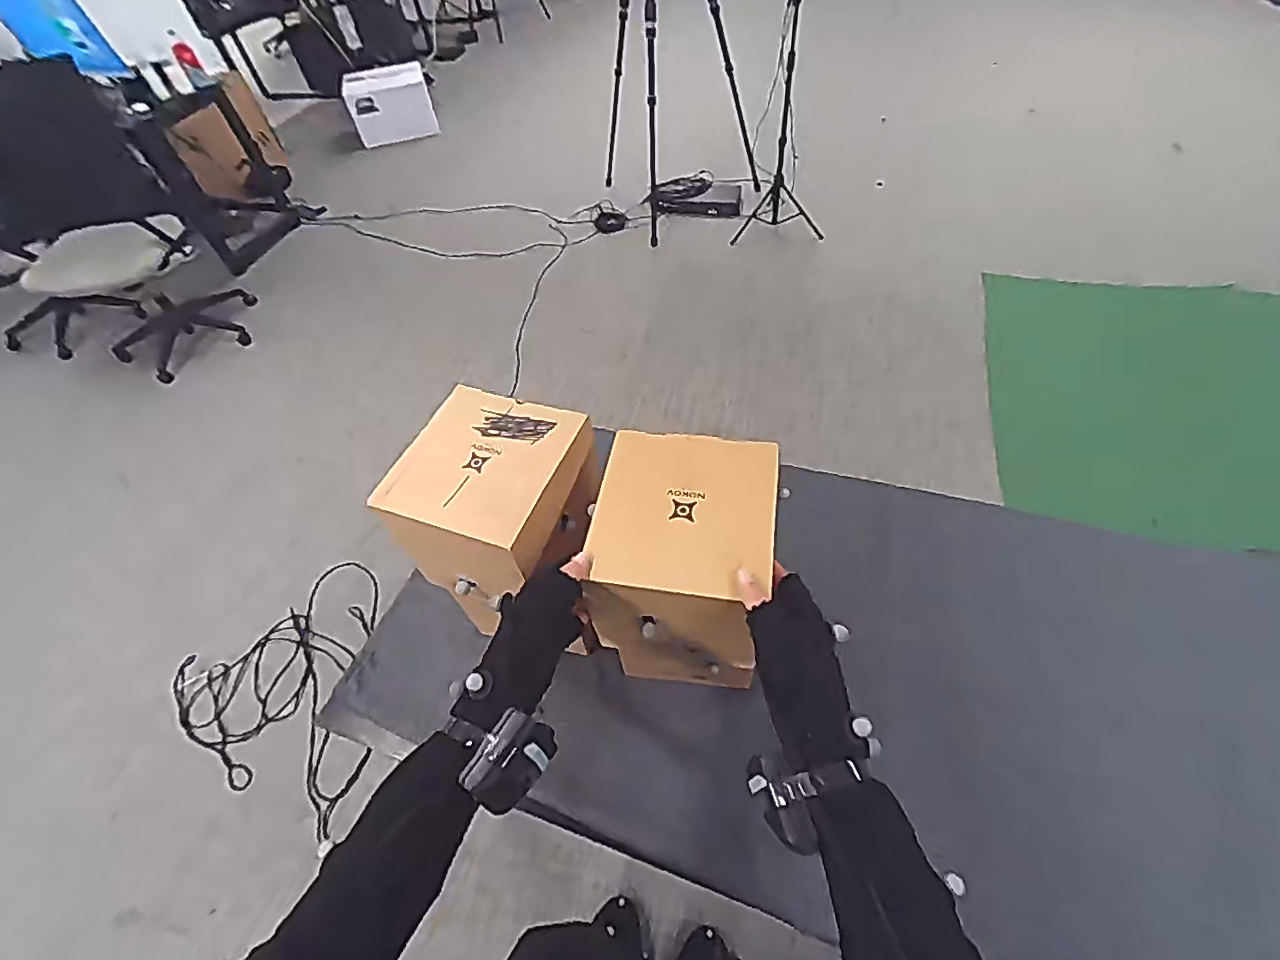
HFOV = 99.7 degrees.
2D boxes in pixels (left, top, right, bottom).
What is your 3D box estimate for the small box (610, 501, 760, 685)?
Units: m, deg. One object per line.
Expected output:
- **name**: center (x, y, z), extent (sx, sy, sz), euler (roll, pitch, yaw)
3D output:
- **small box**: center (0.065, 0.150, 0.703), extent (0.168, 0.176, 0.179), euler (4, 52, 8)
